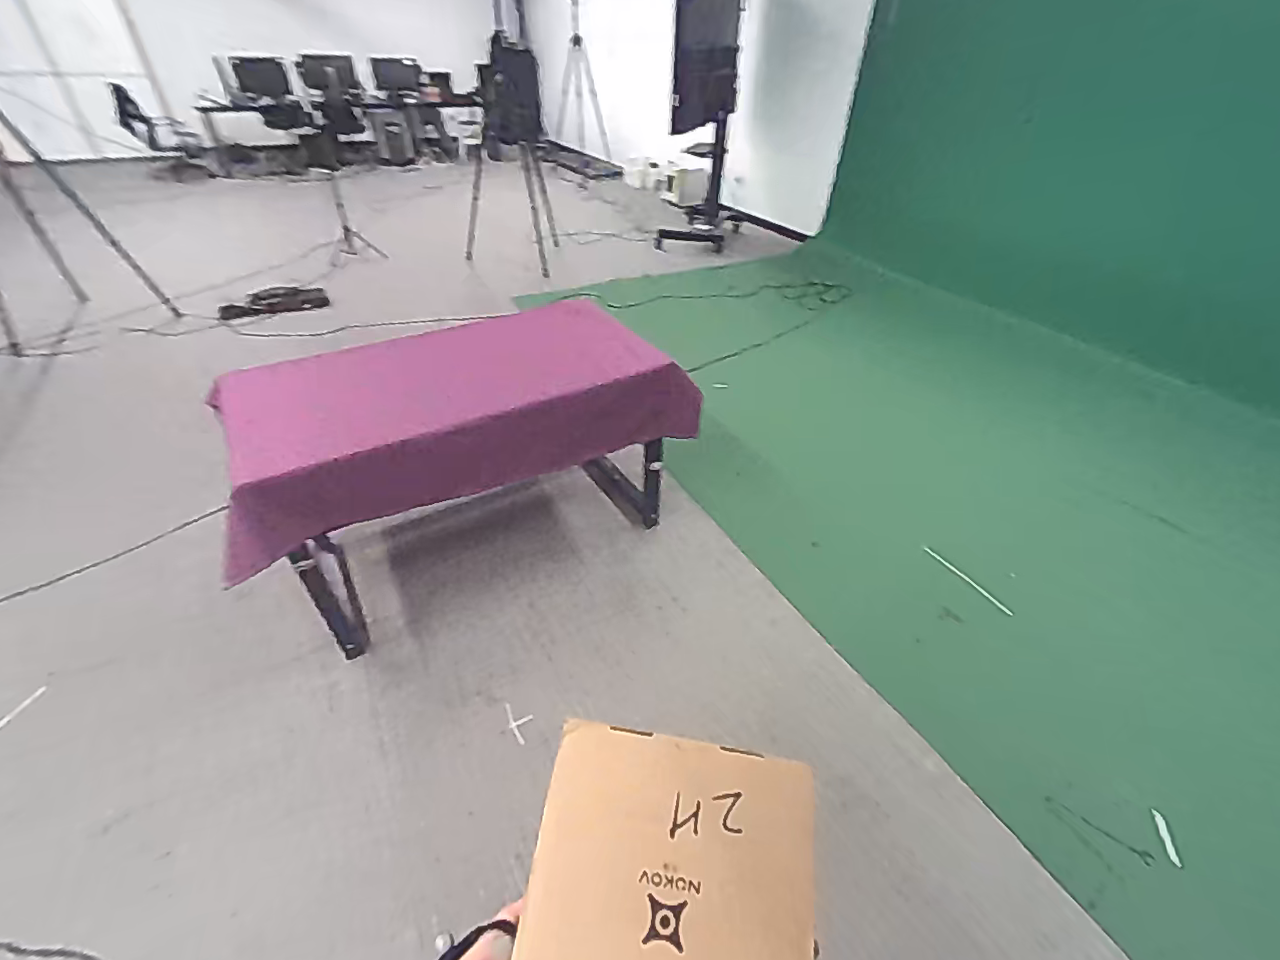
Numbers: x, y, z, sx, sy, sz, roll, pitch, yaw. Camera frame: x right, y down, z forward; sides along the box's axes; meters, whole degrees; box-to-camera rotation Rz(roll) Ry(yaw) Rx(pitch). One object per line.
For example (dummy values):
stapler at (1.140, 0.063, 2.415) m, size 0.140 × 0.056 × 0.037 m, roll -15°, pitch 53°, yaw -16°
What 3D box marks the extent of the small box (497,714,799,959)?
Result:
small box at (0.007, 0.283, 0.378) m, size 0.168 × 0.176 × 0.179 m, roll 9°, pitch 57°, yaw 3°
